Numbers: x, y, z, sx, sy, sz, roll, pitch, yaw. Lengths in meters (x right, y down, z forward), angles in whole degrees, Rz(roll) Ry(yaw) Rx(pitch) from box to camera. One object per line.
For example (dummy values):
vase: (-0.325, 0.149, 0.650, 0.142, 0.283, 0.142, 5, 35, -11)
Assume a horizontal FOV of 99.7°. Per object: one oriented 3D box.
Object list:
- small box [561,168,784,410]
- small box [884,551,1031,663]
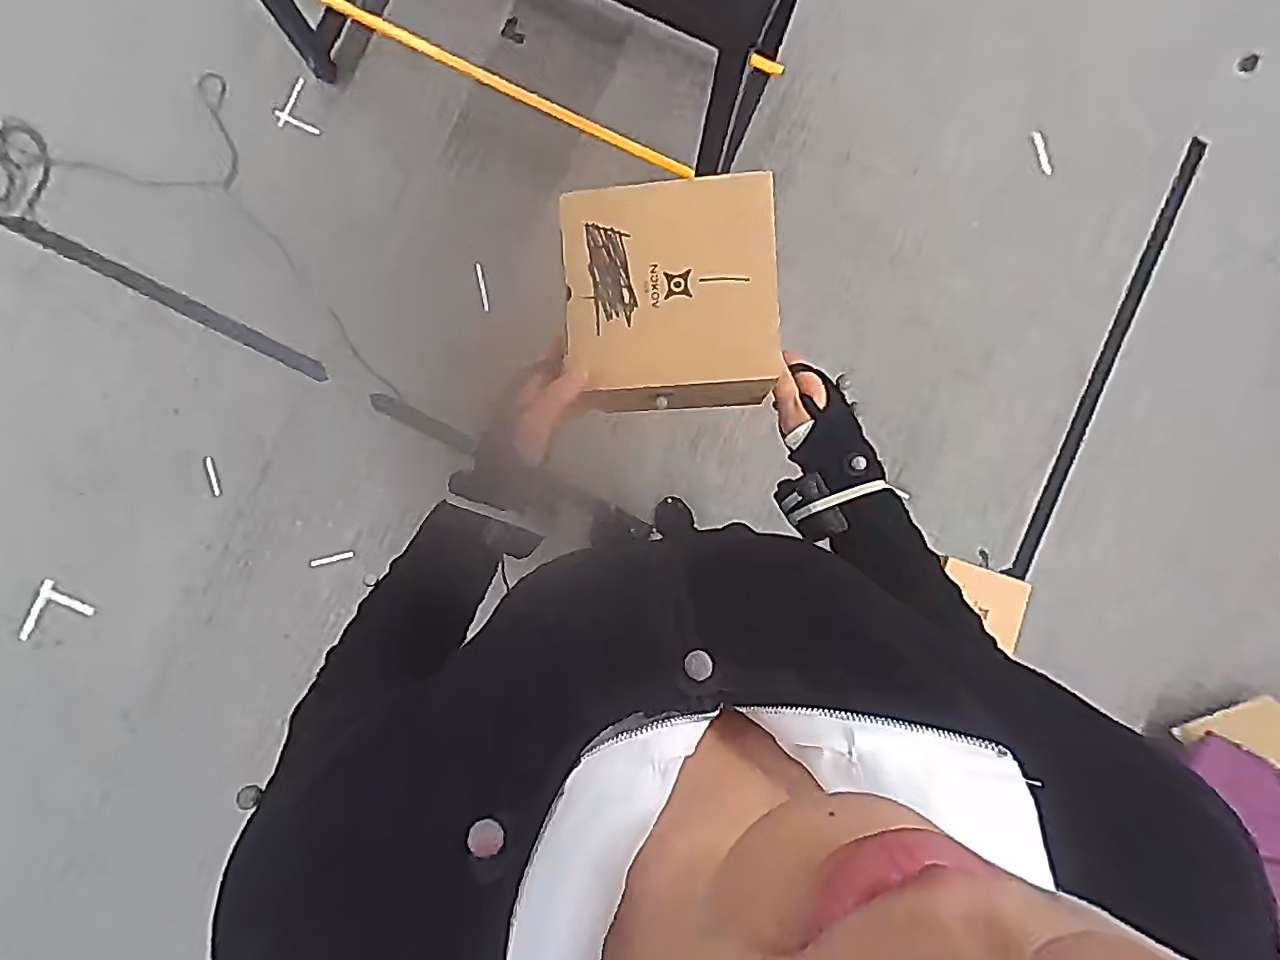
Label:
small box: (0.033, -0.161, 0.513, 0.179, 0.176, 0.168, -3, 91, 5)
small box: (0.643, 0.250, 1.112, 0.179, 0.176, 0.168, 19, 86, -1)
